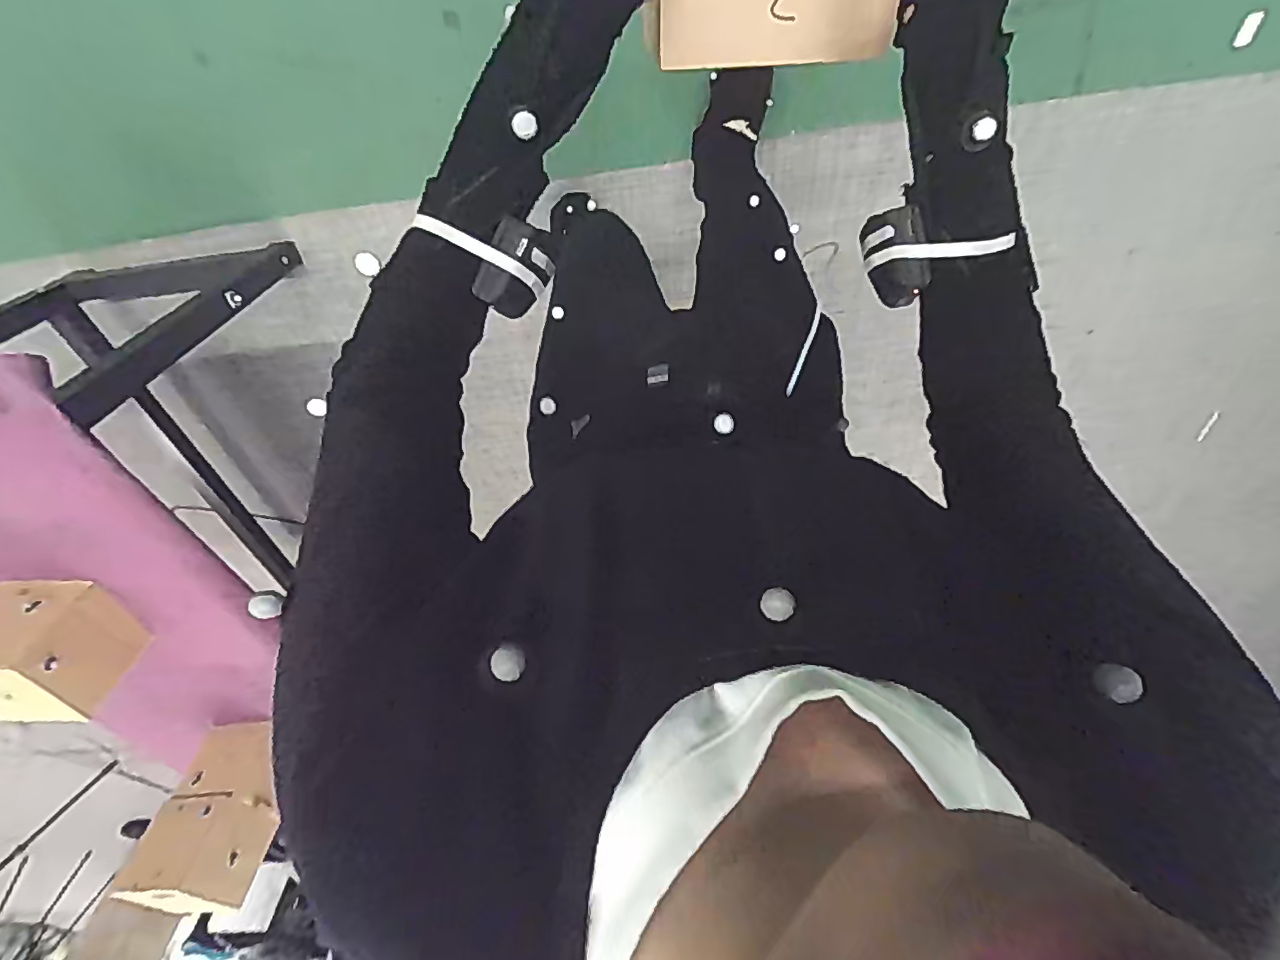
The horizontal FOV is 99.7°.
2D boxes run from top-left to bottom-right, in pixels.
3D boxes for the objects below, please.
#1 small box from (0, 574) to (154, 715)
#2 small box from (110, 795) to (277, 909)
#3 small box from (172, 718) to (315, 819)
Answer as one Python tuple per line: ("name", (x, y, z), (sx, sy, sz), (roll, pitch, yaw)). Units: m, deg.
("small box", (-1.014, 0.284, 0.935), (0.168, 0.176, 0.179), (0, 131, 2))
("small box", (-0.934, 0.789, 1.152), (0.168, 0.176, 0.179), (-6, 130, 10))
("small box", (-0.925, 0.684, 1.281), (0.179, 0.176, 0.168), (-9, 131, 10))
